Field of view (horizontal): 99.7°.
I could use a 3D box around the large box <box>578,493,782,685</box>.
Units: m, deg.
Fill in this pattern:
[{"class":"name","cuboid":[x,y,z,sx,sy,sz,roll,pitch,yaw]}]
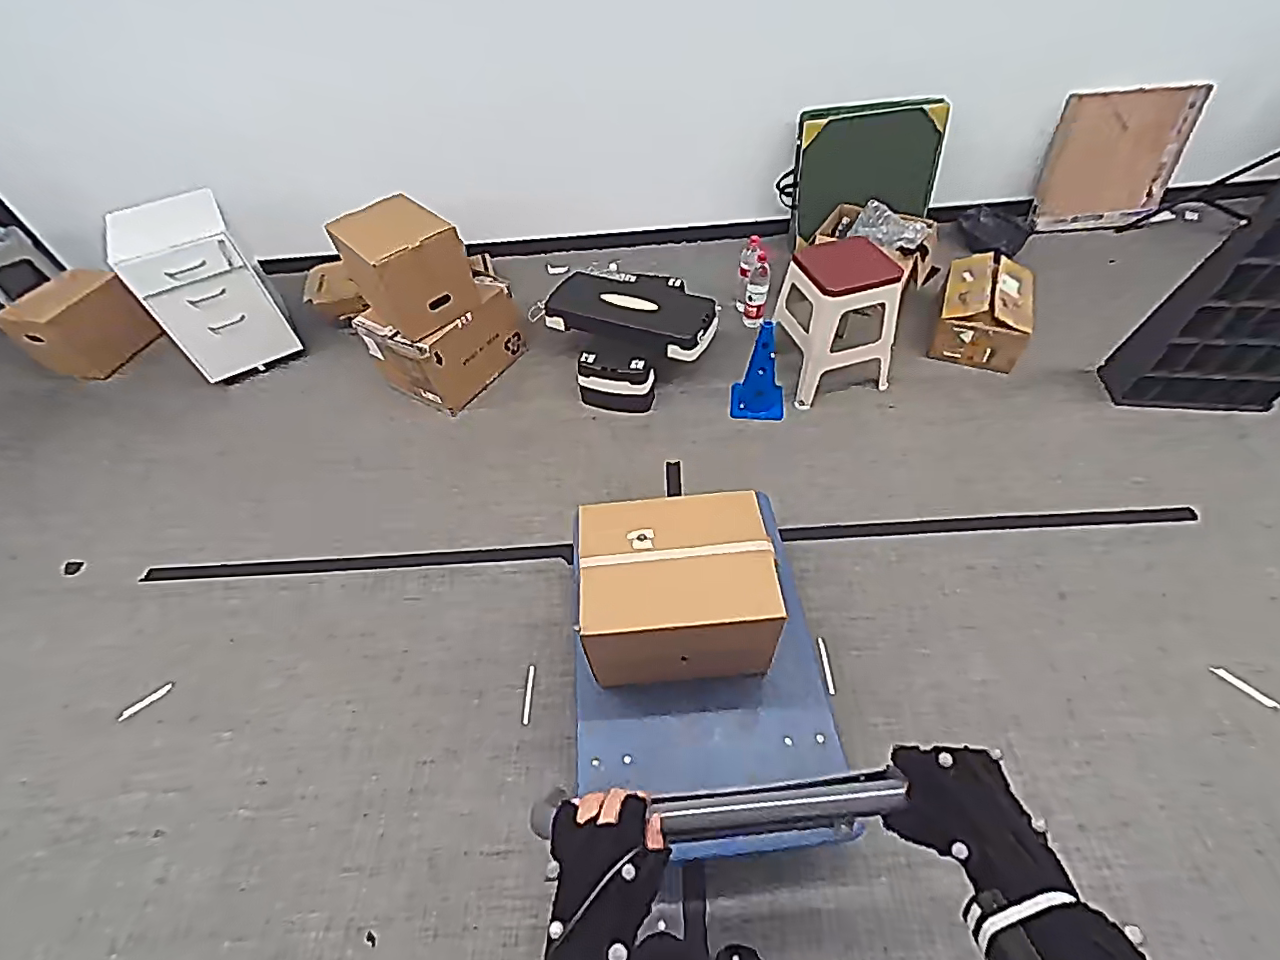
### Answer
[{"class":"large box","cuboid":[0.080,0.261,1.256,0.408,0.320,0.320,-6,51,1]}]
